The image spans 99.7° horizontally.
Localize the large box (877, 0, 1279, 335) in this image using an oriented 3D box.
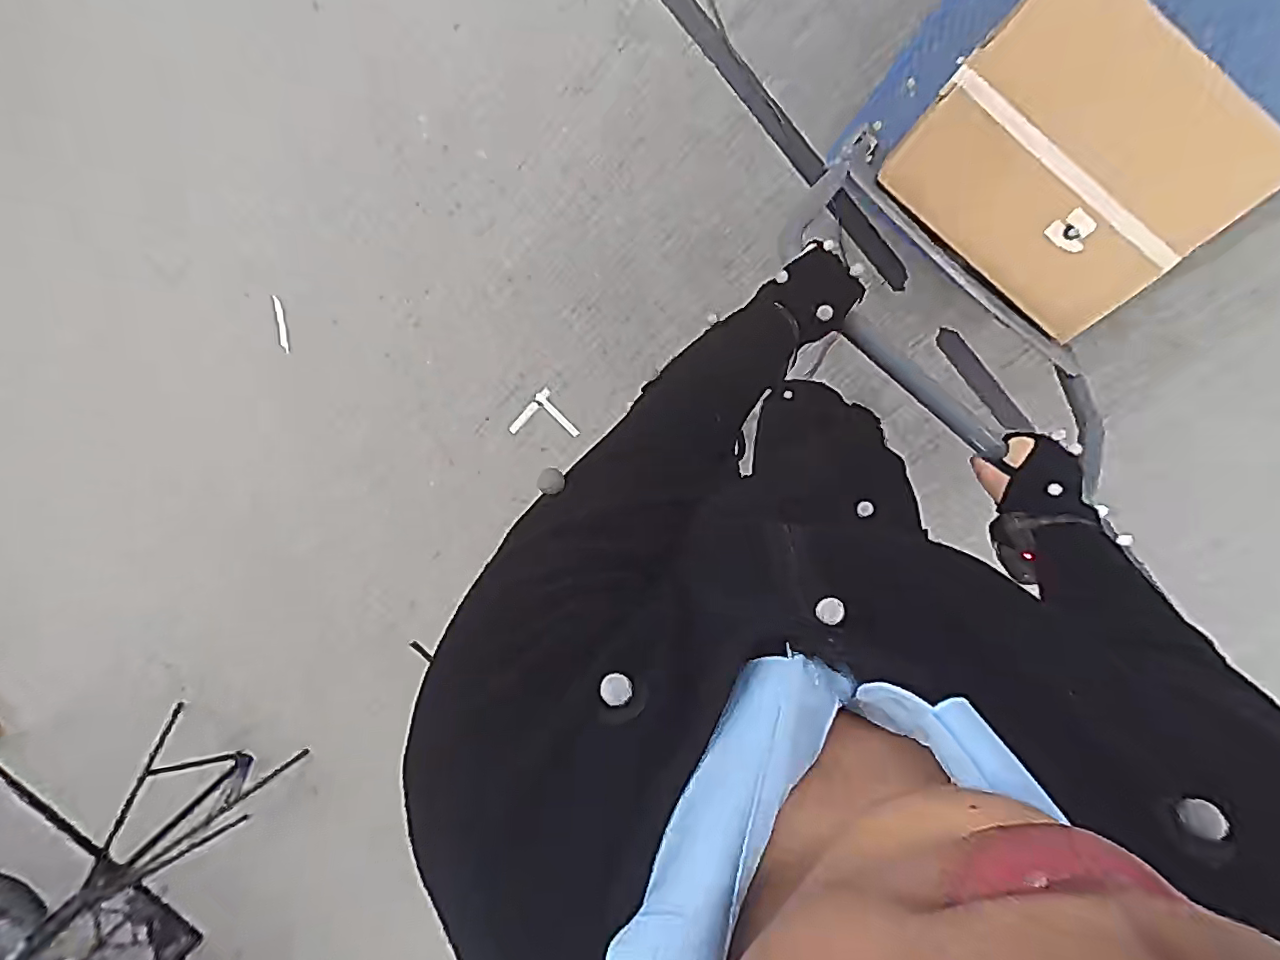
[{"bbox_3d":[0.654,-0.520,0.883,0.408,0.320,0.320,39,131,-4],"label":"large box"}]
